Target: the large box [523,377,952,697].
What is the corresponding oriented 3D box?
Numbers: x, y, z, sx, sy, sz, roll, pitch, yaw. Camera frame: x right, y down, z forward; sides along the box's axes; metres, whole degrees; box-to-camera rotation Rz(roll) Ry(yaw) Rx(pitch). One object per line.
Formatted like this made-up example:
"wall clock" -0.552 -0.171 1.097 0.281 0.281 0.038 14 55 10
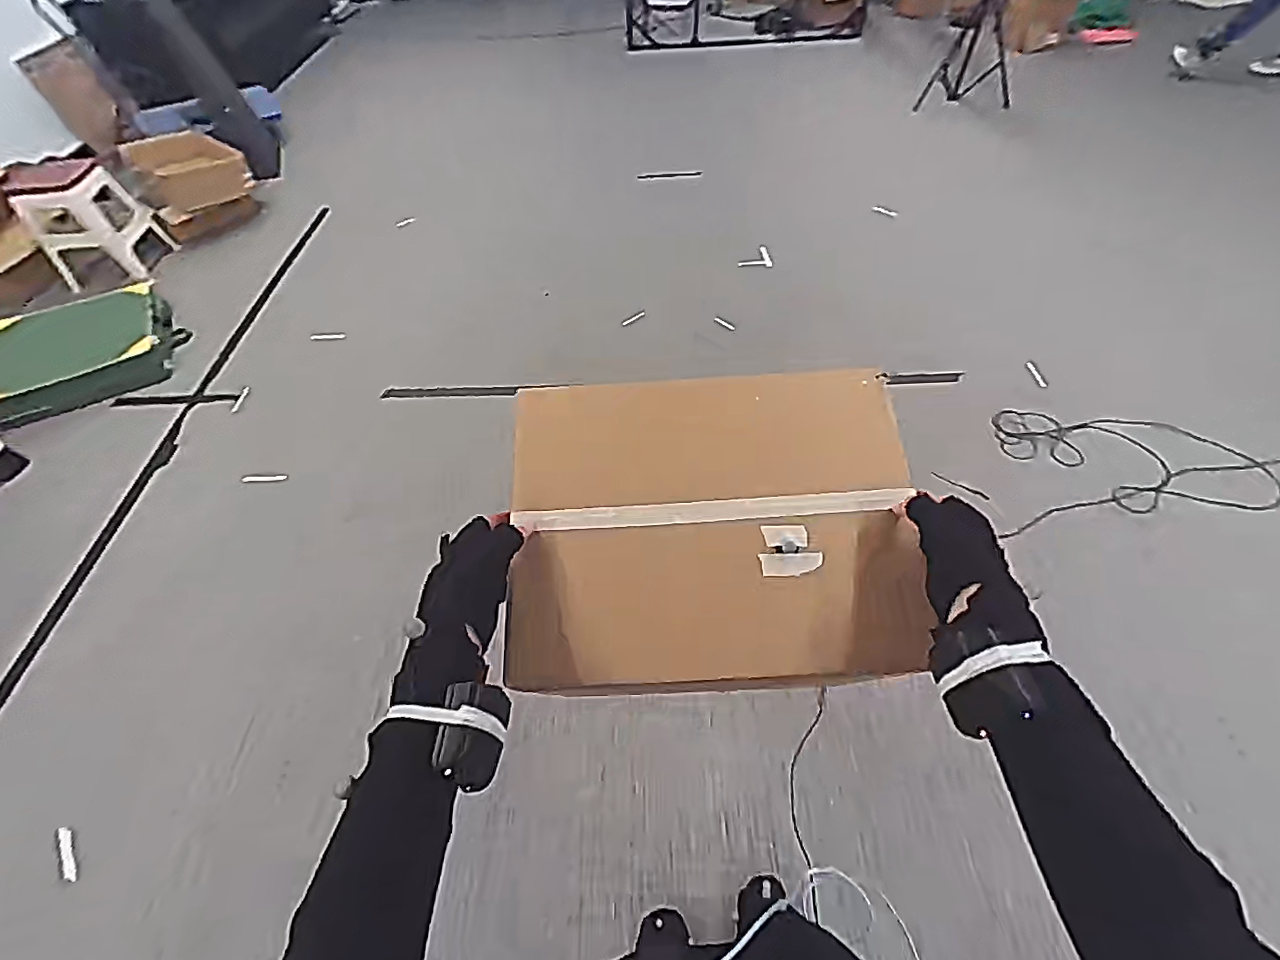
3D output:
"large box" 0.085 0.095 0.688 0.408 0.320 0.320 -3 67 1
